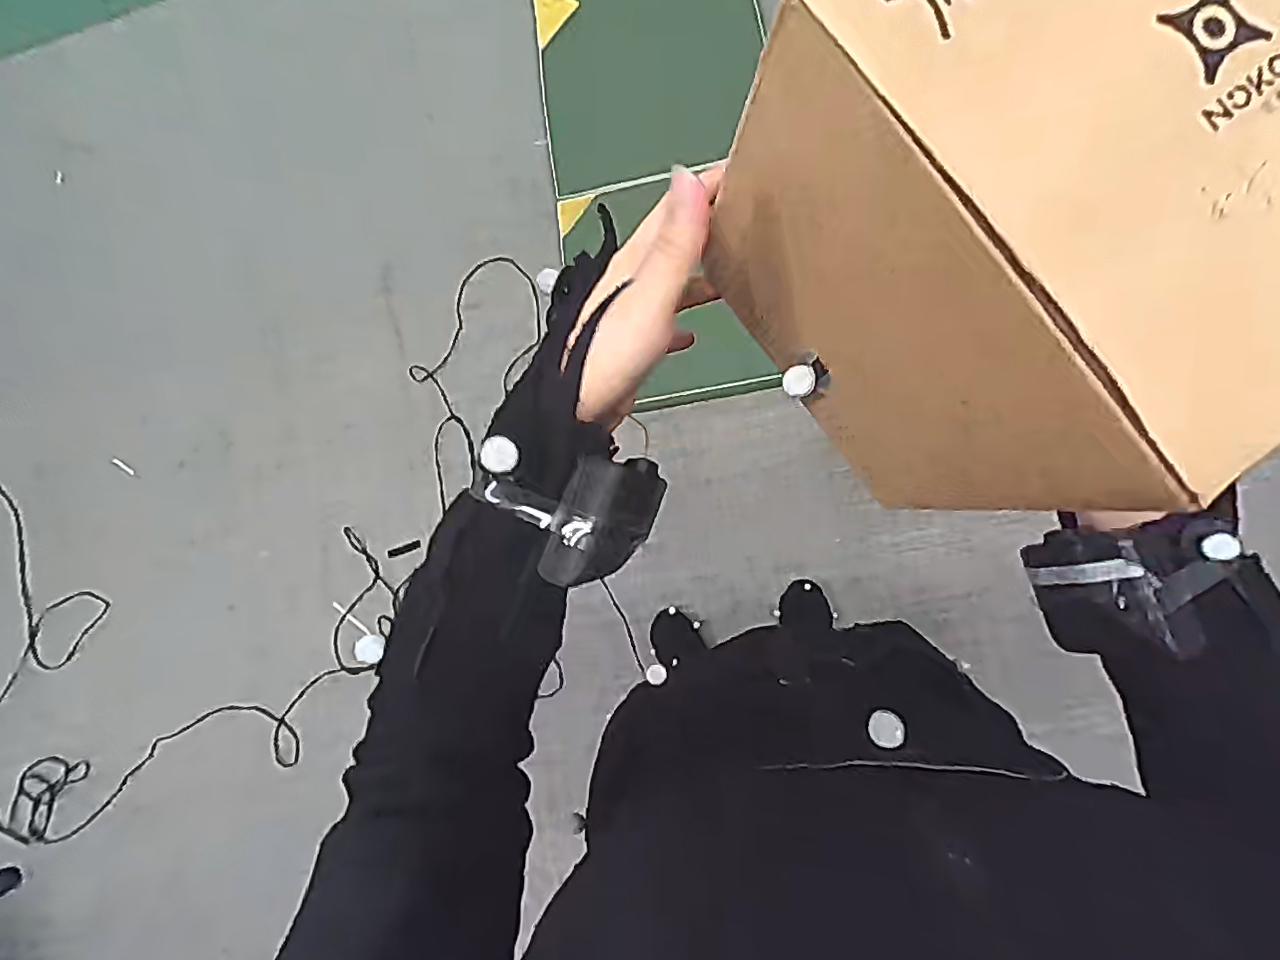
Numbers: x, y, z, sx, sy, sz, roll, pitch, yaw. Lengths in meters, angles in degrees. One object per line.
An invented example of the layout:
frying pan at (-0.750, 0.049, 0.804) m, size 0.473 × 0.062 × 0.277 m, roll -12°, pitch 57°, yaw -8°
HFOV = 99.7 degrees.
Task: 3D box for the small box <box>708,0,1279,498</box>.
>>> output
small box at (0.152, -0.109, 0.230) m, size 0.168 × 0.176 × 0.179 m, roll -37°, pitch 89°, yaw -4°
